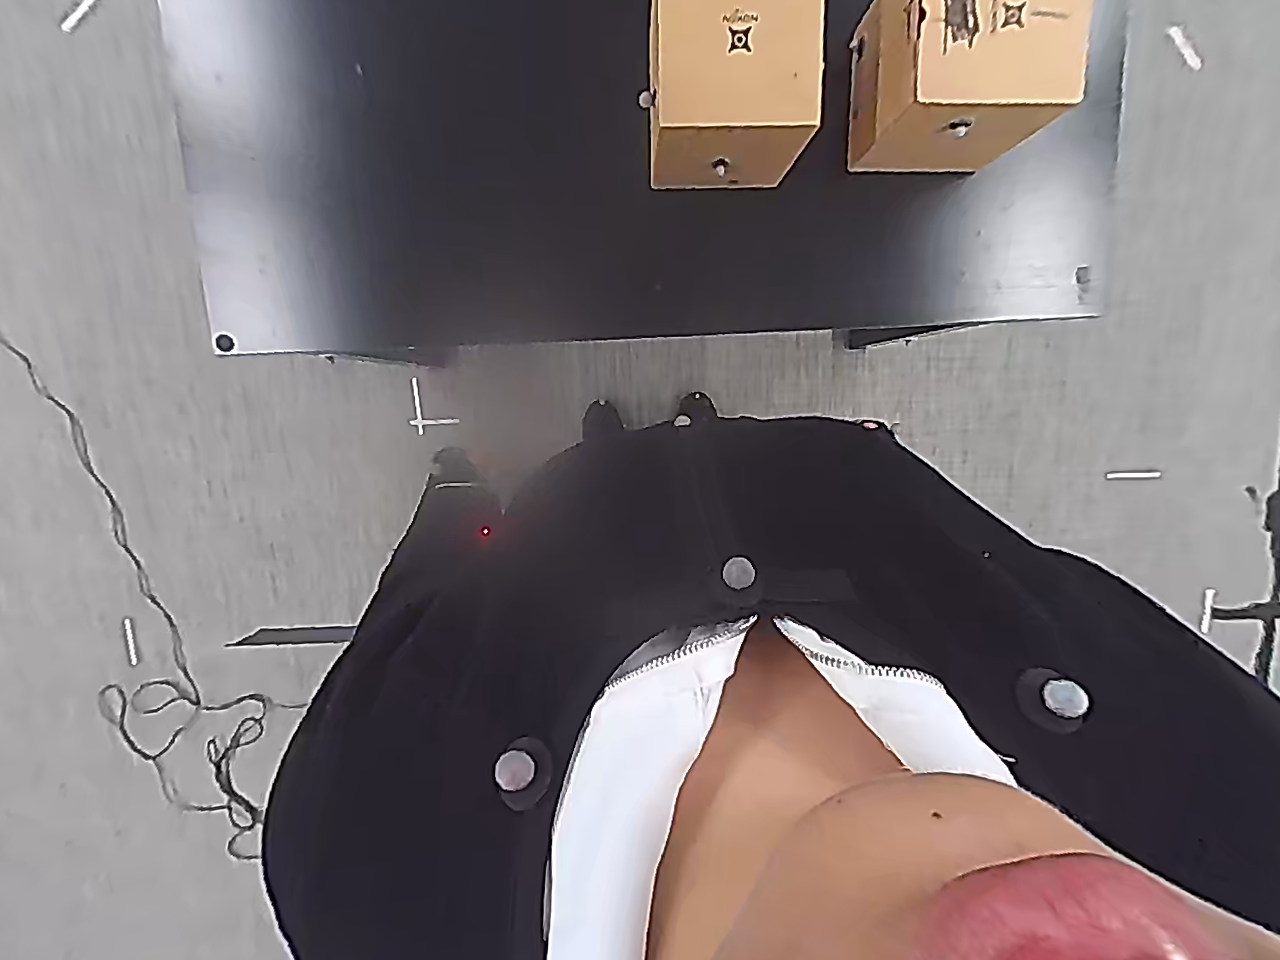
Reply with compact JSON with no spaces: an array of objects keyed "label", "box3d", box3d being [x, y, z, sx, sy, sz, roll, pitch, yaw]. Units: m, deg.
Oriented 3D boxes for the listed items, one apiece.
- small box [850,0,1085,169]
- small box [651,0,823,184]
[{"label":"small box","box3d":[0.360,-0.479,0.623,0.179,0.176,0.168,-1,99,-2]},{"label":"small box","box3d":[0.100,-0.460,0.621,0.168,0.176,0.179,-1,99,-1]}]
